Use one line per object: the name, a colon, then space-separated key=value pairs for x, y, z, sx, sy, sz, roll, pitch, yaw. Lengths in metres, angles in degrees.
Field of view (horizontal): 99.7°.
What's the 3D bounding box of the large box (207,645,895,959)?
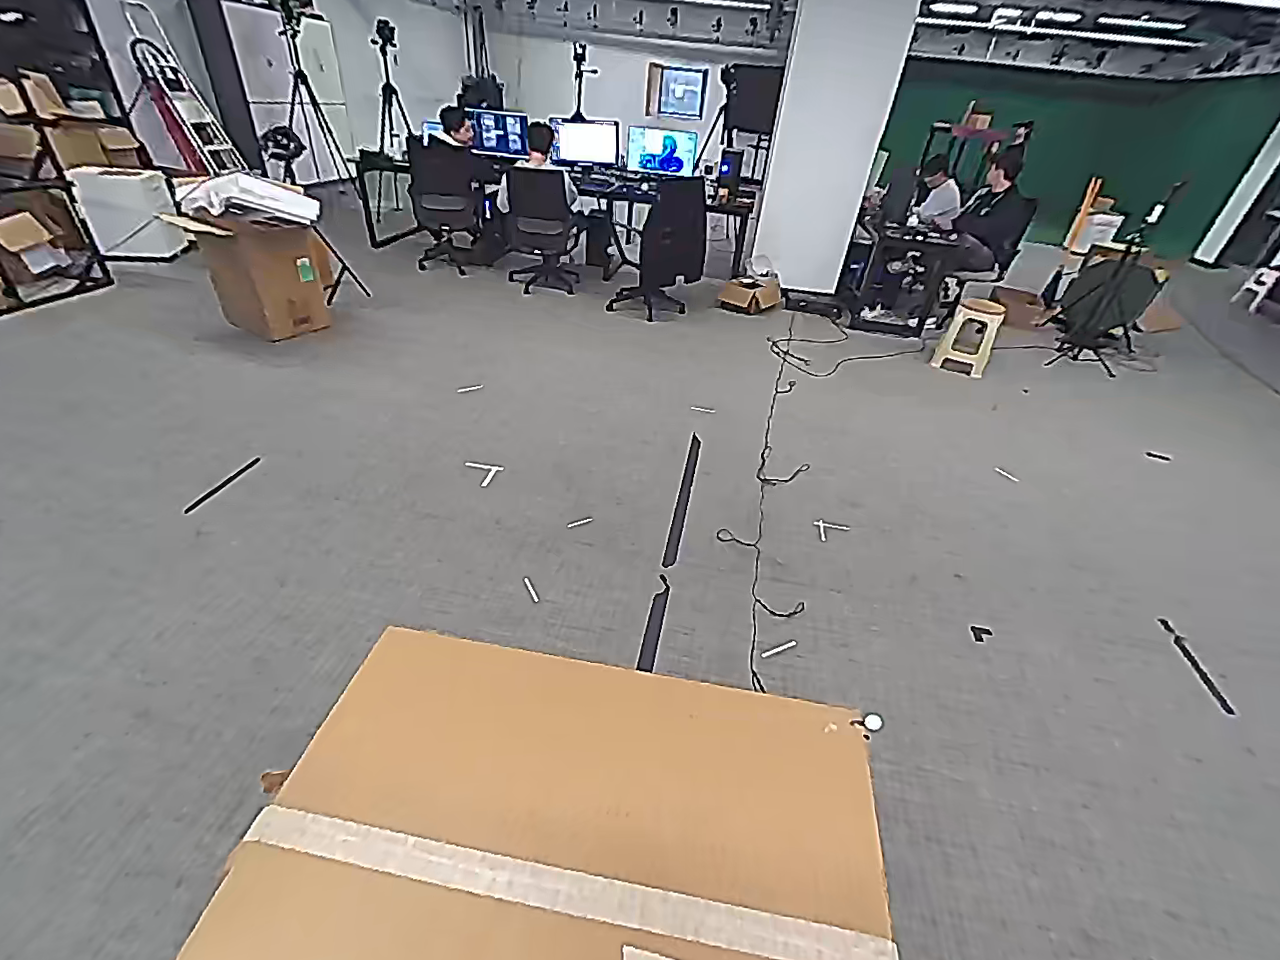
large box: x=-0.051 y=0.378 z=0.434 sx=0.408 sy=0.320 sz=0.320 roll=8 pitch=41 yaw=5
